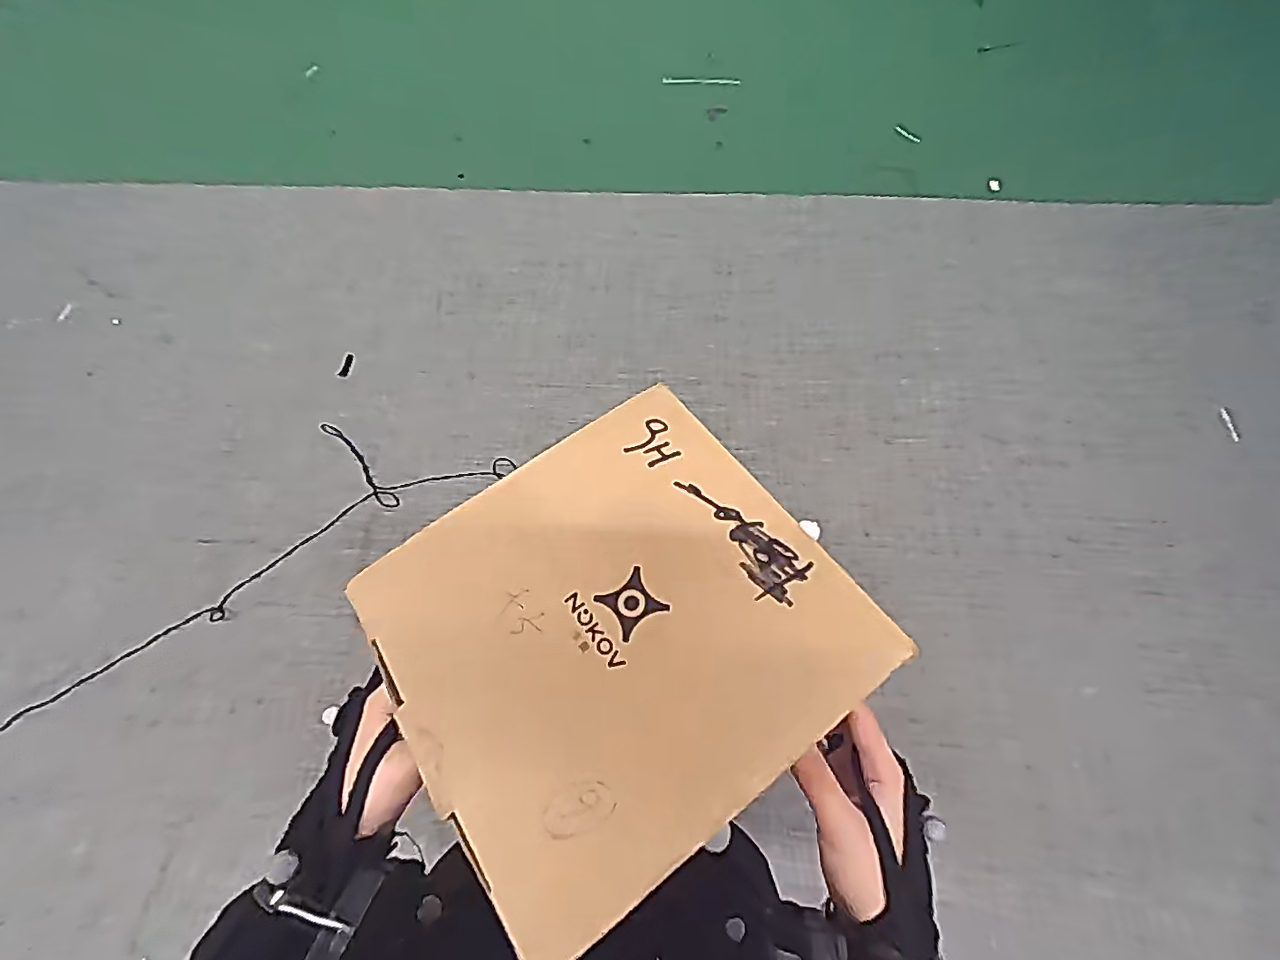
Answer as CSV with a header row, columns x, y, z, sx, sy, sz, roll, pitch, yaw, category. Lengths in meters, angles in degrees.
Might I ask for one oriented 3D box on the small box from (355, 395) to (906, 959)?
x,y,z,sx,sy,sz,roll,pitch,yaw,category
-0.004,0.096,0.292,0.179,0.176,0.168,-34,65,-13,small box
